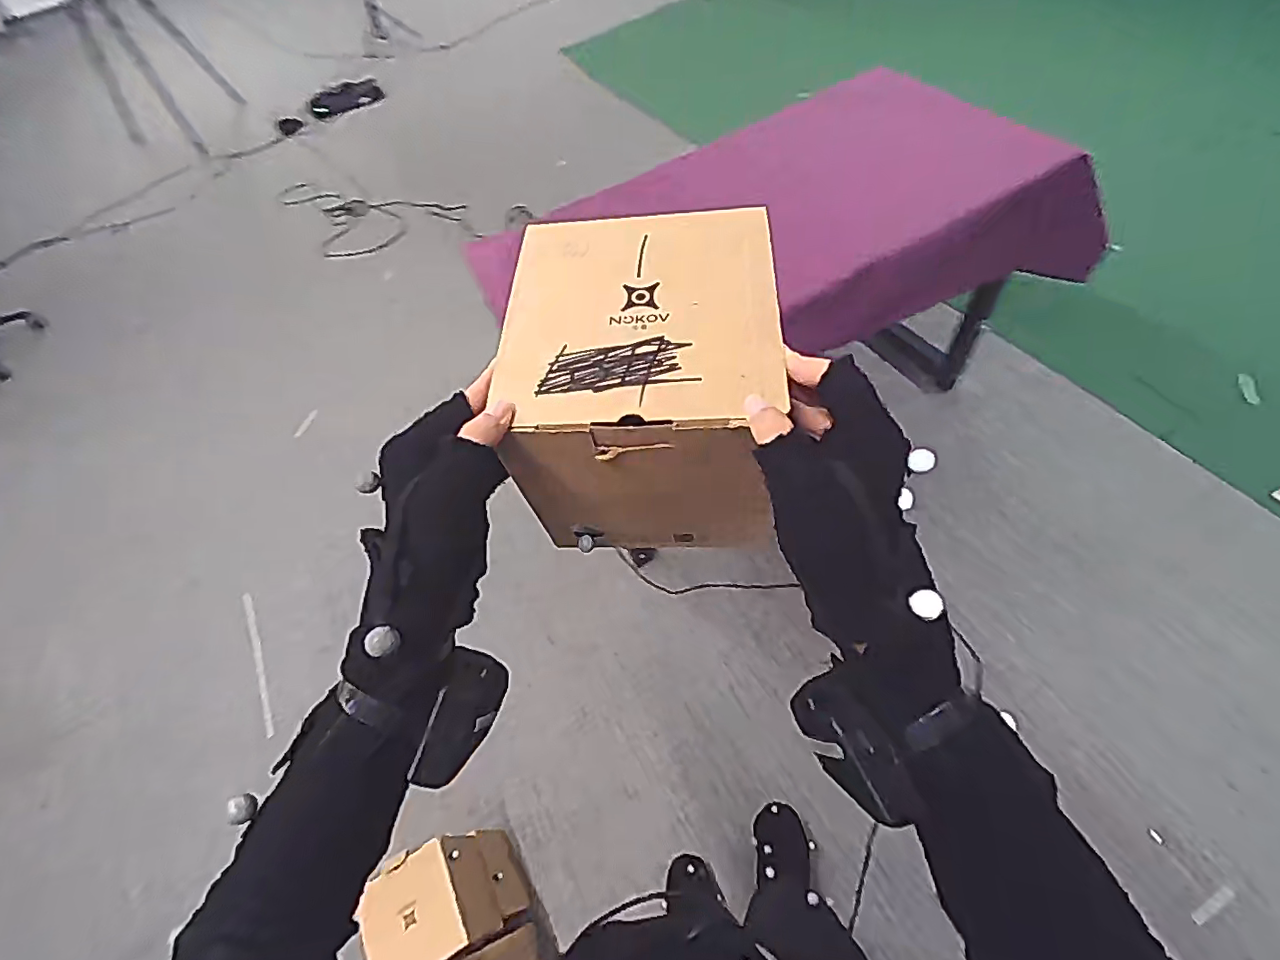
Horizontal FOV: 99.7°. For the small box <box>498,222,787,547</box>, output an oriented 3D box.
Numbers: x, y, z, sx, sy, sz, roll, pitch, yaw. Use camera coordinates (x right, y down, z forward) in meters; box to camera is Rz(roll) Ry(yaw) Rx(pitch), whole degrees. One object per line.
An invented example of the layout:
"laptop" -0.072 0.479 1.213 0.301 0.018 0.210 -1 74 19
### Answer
"small box" 0.014 -0.059 0.404 0.168 0.176 0.179 -1 58 7
